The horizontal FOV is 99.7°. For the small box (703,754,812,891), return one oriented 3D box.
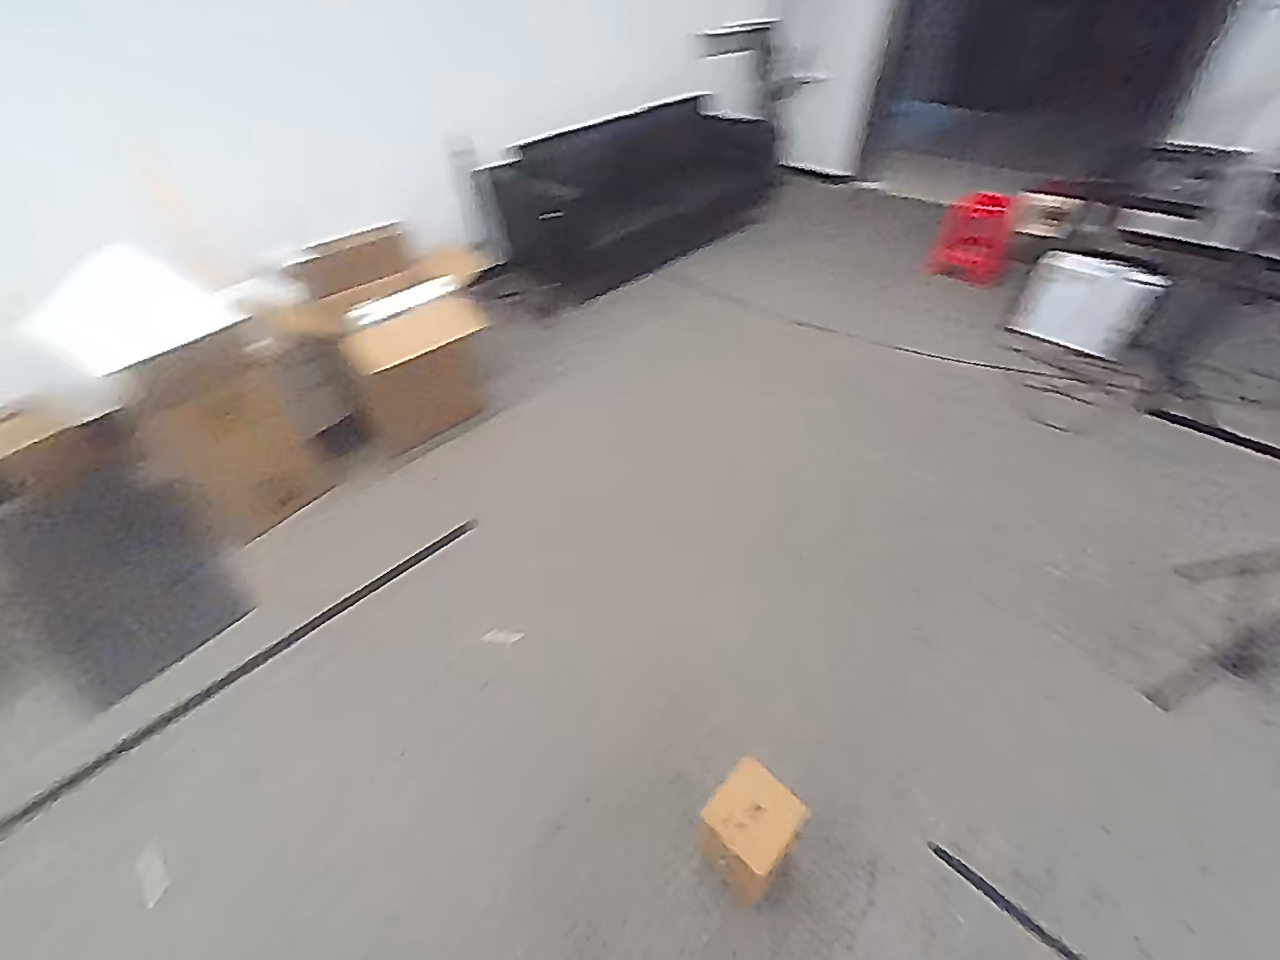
[{"bbox_3d":[0.252,0.762,1.206,0.179,0.176,0.168,-34,50,-28],"label":"small box"}]

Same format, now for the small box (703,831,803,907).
[{"bbox_3d":[0.266,0.884,1.316,0.179,0.176,0.168,-32,50,-28],"label":"small box"}]
